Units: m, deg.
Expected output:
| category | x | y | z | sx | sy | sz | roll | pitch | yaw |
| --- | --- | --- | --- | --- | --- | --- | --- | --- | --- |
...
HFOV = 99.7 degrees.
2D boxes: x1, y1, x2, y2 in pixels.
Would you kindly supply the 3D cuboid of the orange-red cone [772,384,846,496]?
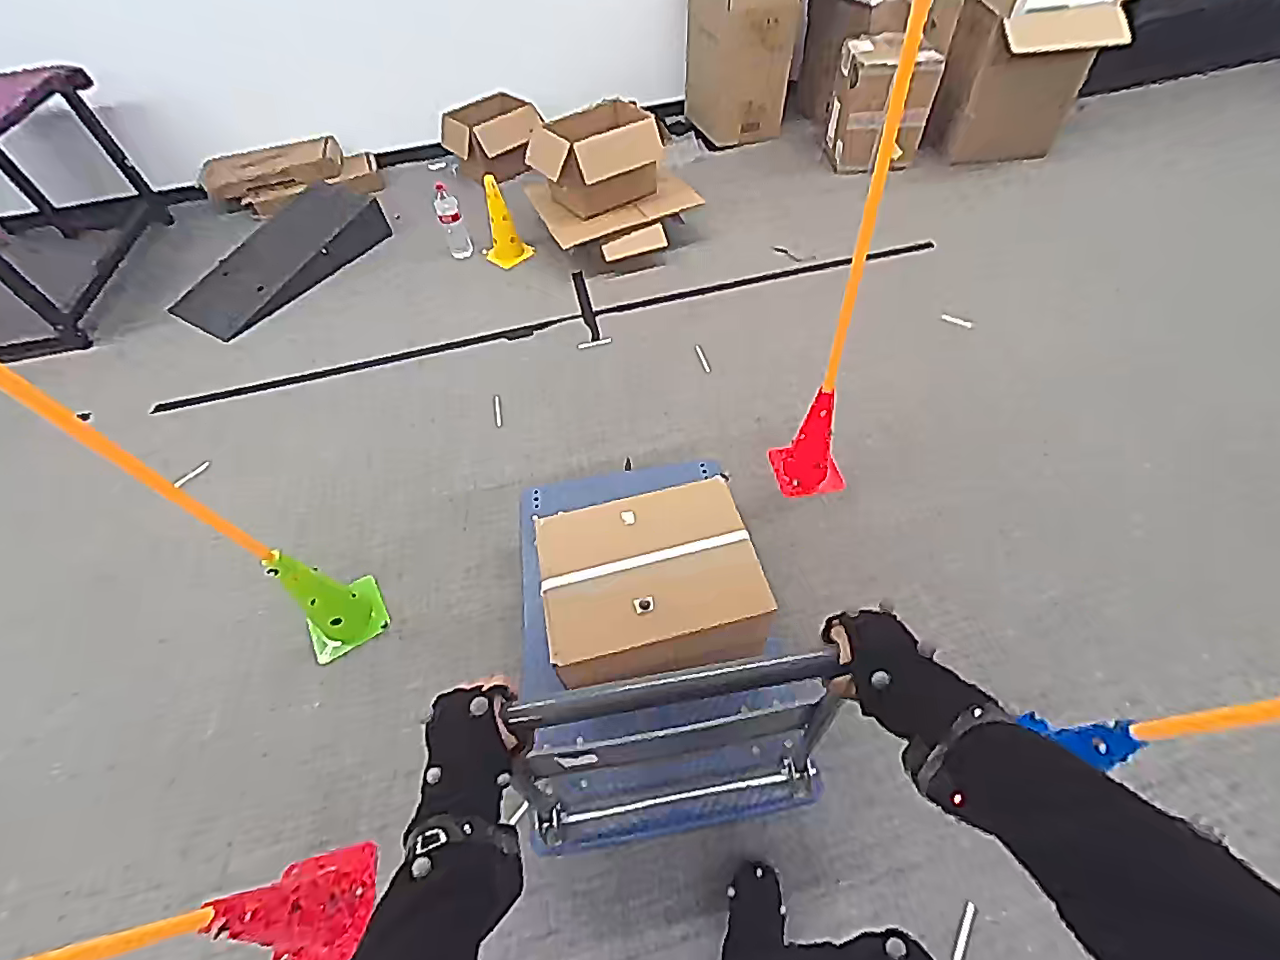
| category | x | y | z | sx | sy | sz | roll | pitch | yaw |
| --- | --- | --- | --- | --- | --- | --- | --- | --- | --- |
| orange-red cone | 0.523 | -0.139 | 1.581 | 0.199 | 0.360 | 0.198 | -7 | 53 | -2 |
